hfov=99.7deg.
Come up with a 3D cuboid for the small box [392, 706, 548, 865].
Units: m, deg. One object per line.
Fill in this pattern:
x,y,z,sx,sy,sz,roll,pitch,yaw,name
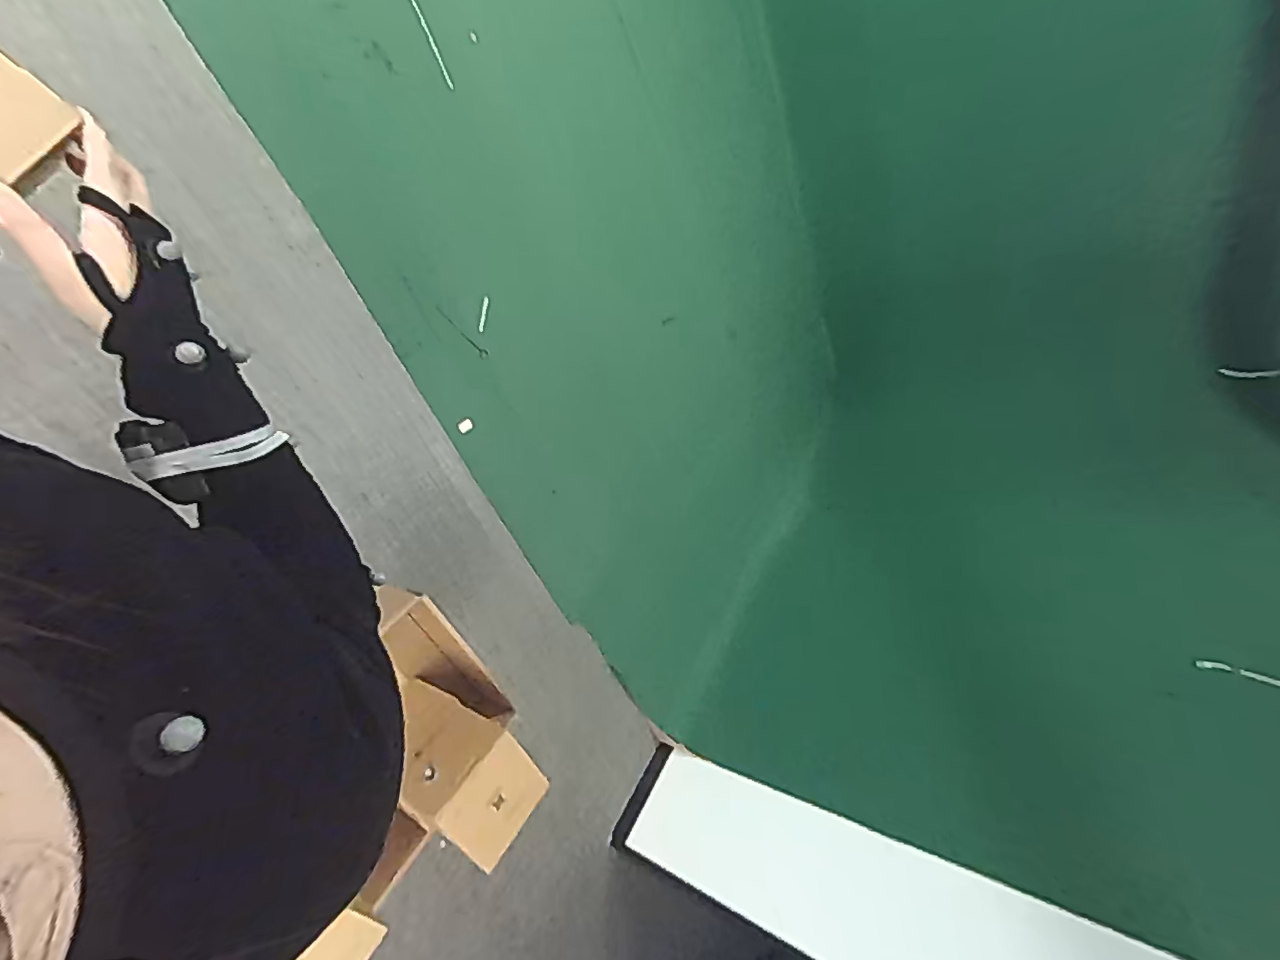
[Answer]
-0.305,0.535,0.974,0.168,0.176,0.179,-47,127,-37,small box
